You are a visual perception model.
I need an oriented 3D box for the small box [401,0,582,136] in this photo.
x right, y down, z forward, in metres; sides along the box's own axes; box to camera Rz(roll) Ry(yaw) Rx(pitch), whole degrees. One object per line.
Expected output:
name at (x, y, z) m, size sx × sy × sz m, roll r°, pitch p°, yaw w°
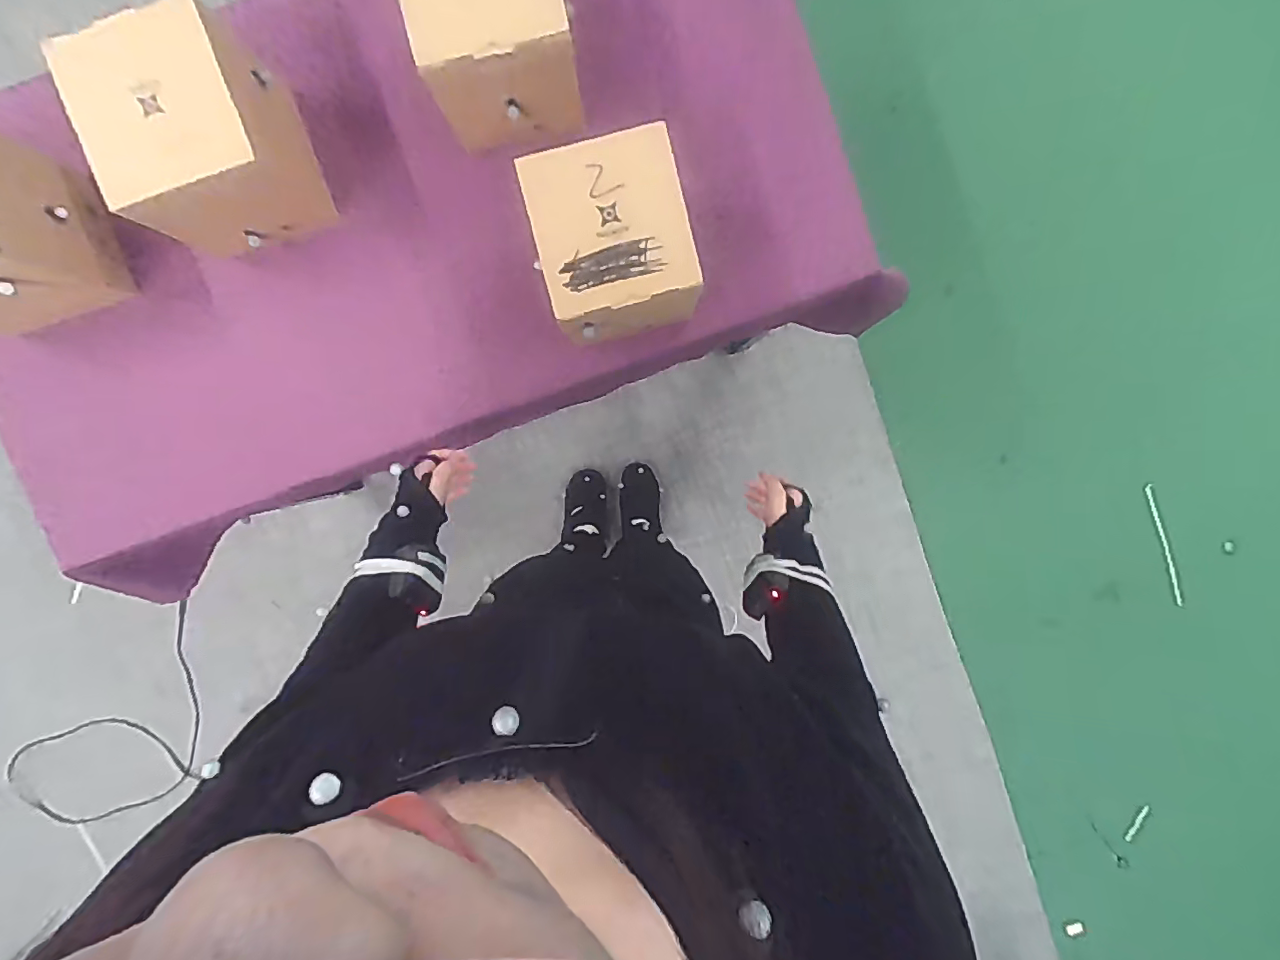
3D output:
small box at (-0.170, -0.535, 0.629) m, size 0.168 × 0.176 × 0.179 m, roll -13°, pitch 96°, yaw 0°

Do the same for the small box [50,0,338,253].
small box at (-0.501, -0.400, 0.638) m, size 0.168 × 0.176 × 0.179 m, roll -18°, pitch 96°, yaw 1°

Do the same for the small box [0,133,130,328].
small box at (-0.770, -0.297, 0.641) m, size 0.179 × 0.176 × 0.168 m, roll -19°, pitch 95°, yaw 1°
